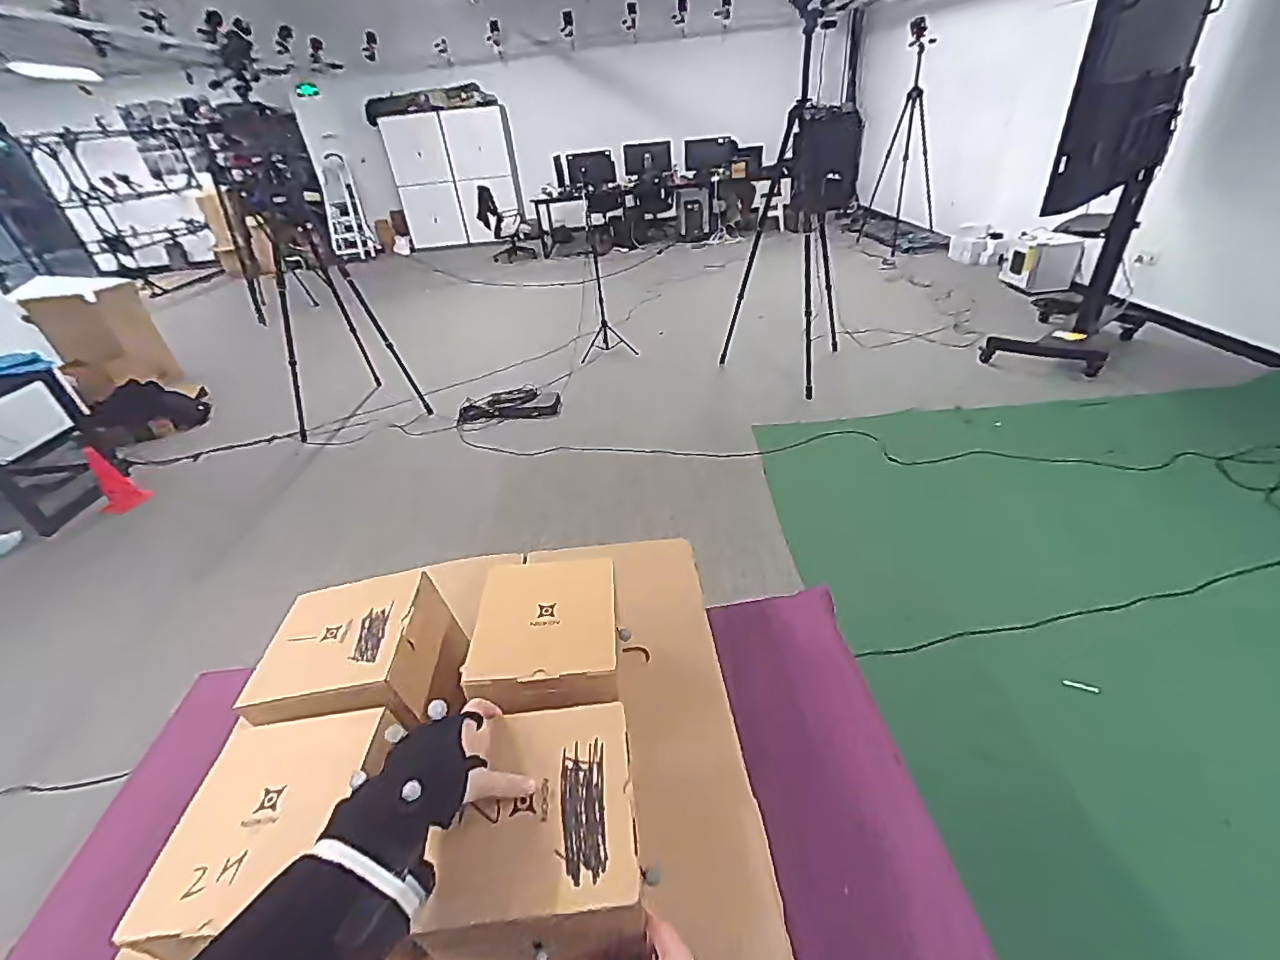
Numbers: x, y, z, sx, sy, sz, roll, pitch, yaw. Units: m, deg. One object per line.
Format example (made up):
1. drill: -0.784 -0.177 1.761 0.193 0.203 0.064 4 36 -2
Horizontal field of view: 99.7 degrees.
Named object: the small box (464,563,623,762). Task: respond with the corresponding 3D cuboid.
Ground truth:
1. small box: -0.110 0.230 0.692 0.168 0.176 0.179 -4 37 -1
